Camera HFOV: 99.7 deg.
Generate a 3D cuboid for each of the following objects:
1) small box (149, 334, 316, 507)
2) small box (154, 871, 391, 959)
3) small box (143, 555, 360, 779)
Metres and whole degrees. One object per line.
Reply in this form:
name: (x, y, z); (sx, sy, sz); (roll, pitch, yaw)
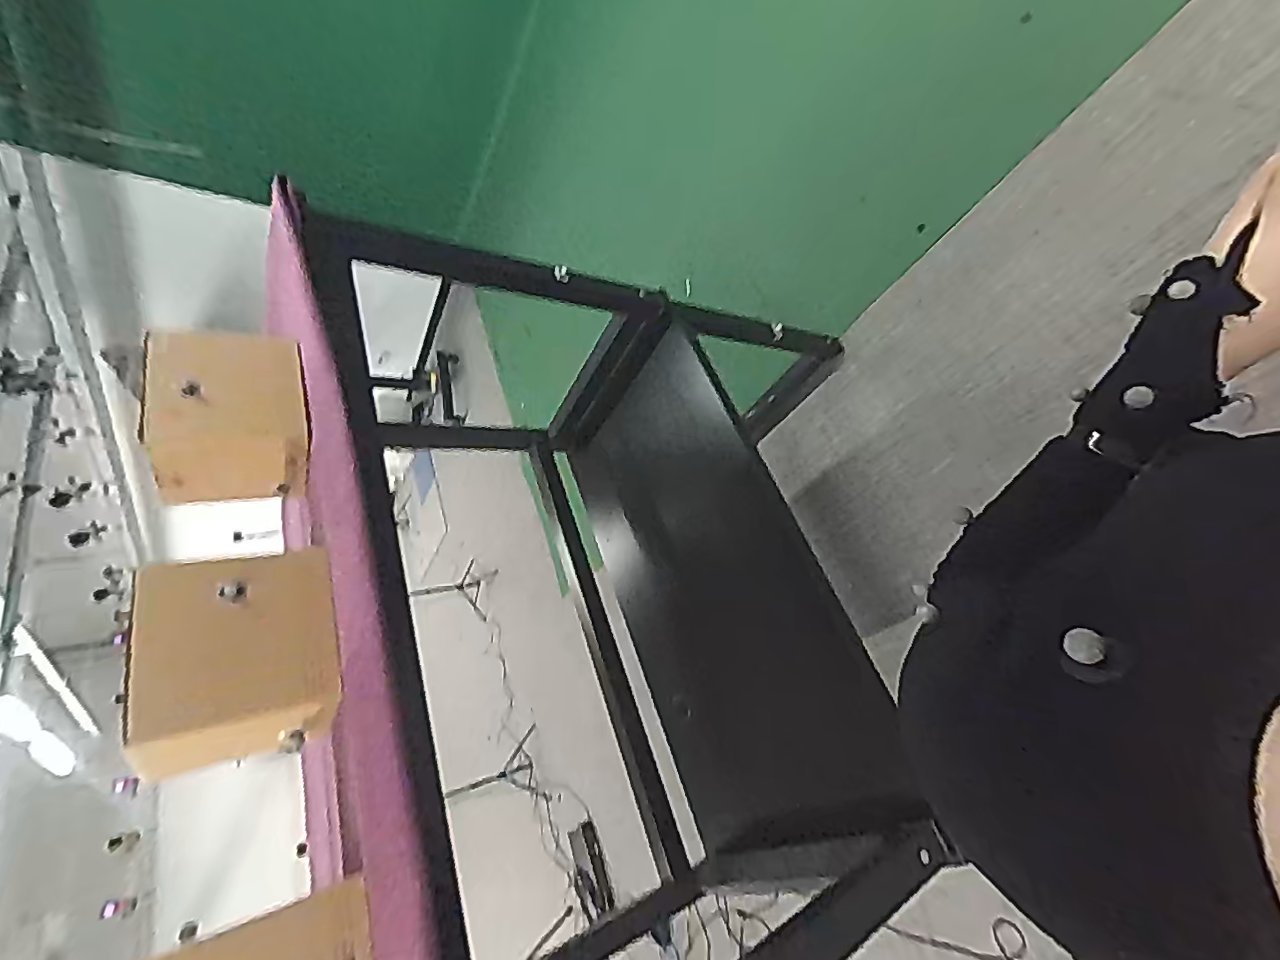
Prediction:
small box: (-0.561, -0.082, 0.760); (0.168, 0.176, 0.179); (-49, 55, 45)
small box: (-0.308, 0.458, 0.452); (0.179, 0.176, 0.168); (-49, 53, 42)
small box: (-0.423, 0.195, 0.597); (0.168, 0.176, 0.179); (-50, 55, 42)
